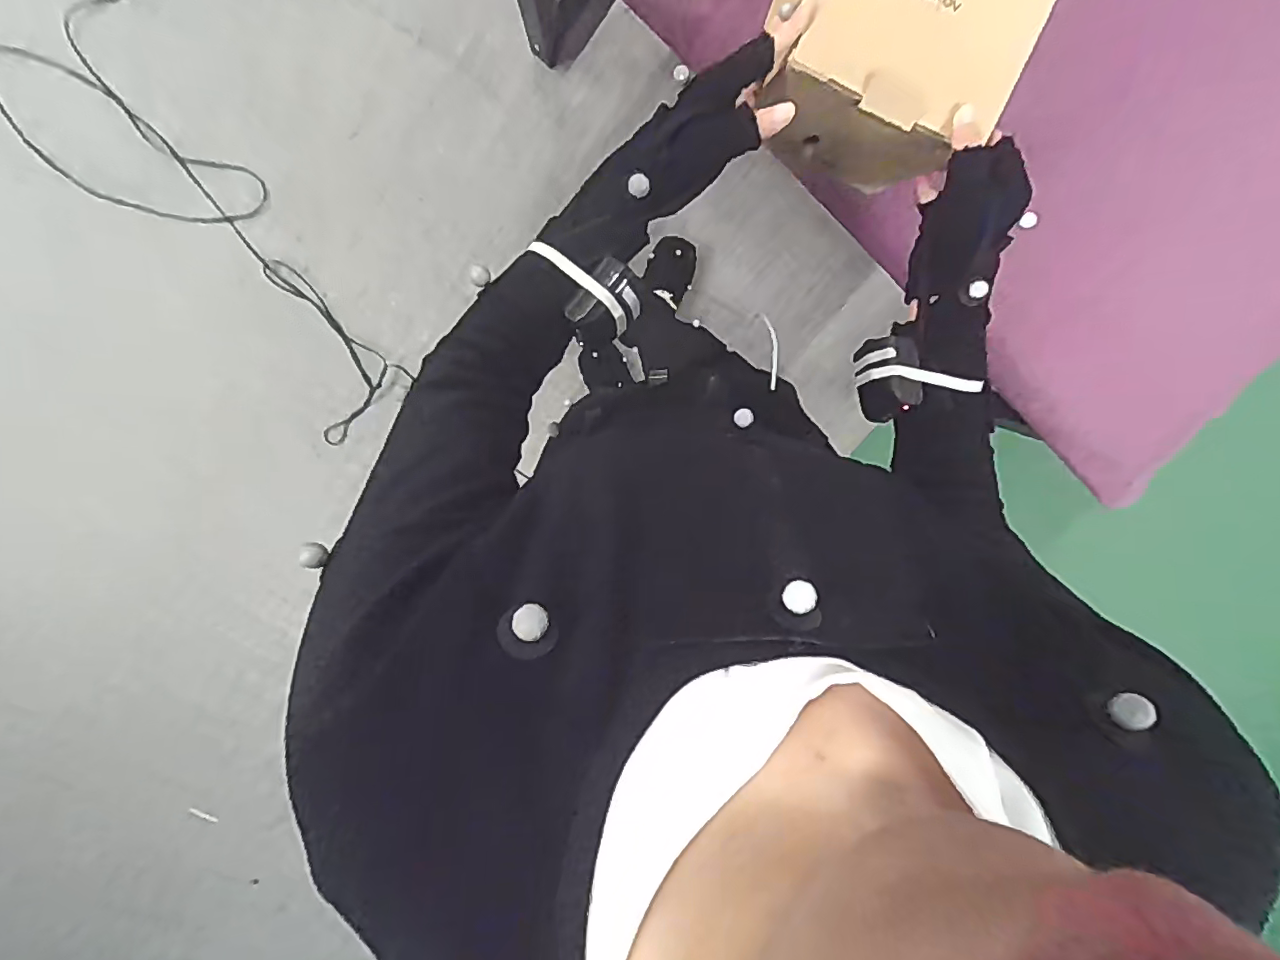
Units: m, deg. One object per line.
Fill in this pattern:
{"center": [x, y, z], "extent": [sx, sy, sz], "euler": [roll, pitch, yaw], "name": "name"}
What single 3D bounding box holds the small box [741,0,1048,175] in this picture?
{"center": [0.201, -0.384, 0.445], "extent": [0.168, 0.176, 0.179], "euler": [17, 108, -12], "name": "small box"}
